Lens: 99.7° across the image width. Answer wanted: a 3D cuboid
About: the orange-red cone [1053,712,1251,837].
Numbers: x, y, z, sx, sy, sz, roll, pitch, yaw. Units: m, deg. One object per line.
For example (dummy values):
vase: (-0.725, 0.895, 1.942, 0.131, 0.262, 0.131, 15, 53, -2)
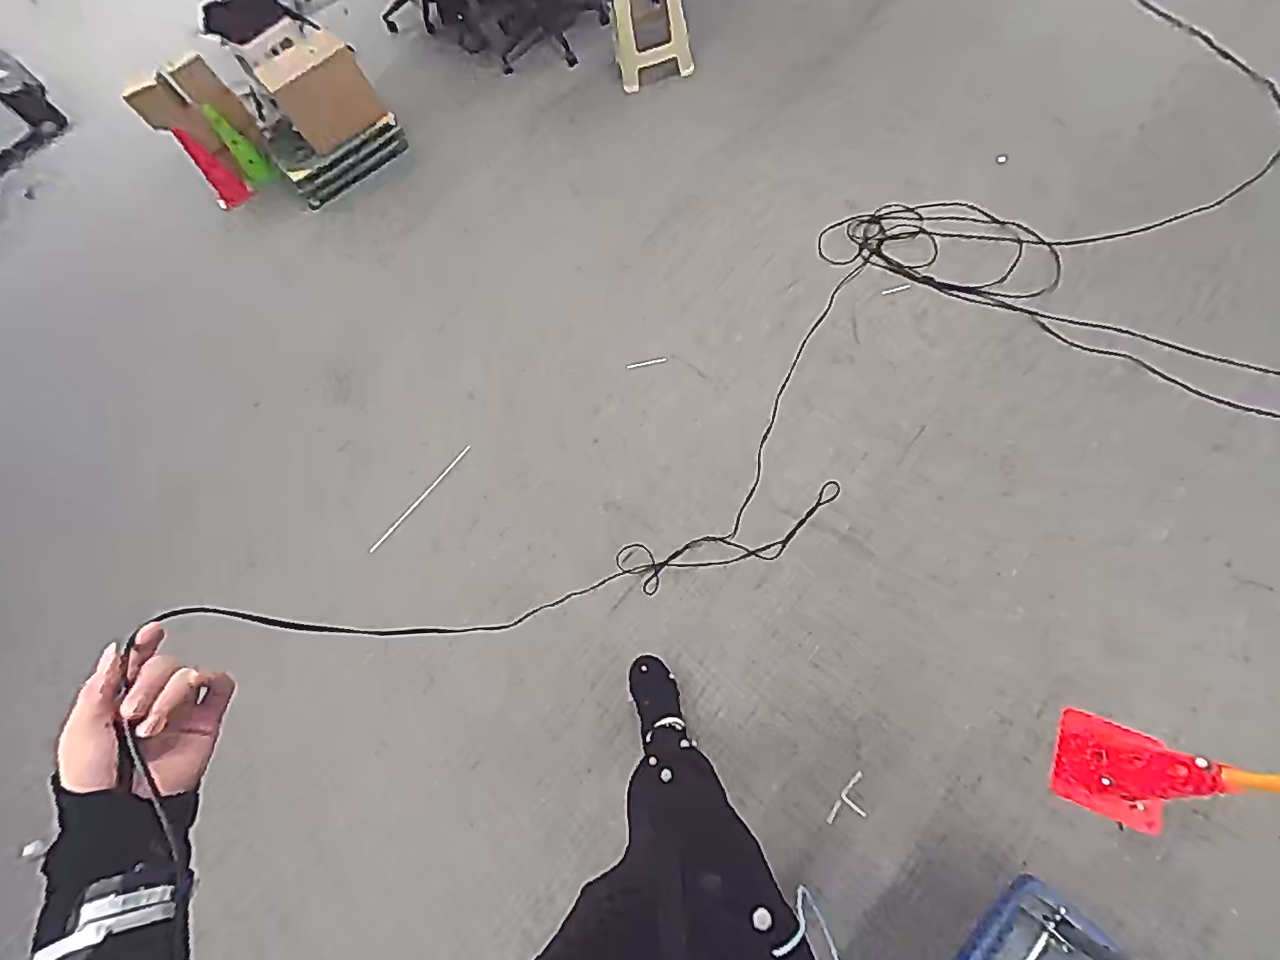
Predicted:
orange-red cone: (1.001, 0.565, 1.036, 0.198, 0.360, 0.199, 20, 69, 19)
